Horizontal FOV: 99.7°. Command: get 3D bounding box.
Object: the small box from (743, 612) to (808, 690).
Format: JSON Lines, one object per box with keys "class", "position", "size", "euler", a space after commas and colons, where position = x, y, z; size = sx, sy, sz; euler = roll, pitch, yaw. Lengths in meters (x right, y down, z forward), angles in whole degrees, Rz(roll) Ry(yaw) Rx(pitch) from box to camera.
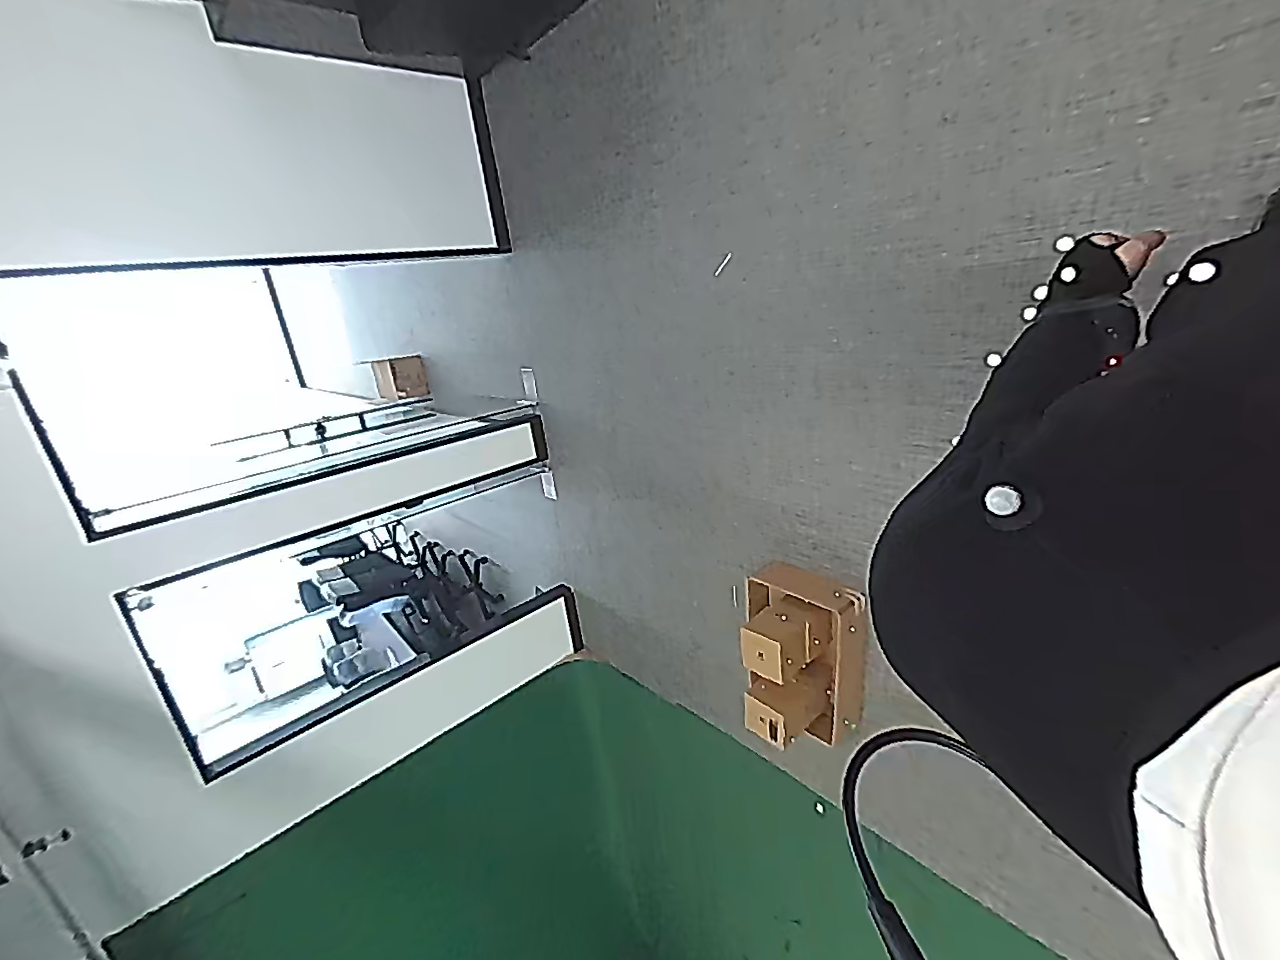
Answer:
{"class": "small box", "position": [0.488, 0.604, 1.934], "size": [0.168, 0.176, 0.179], "euler": [13, 117, 46]}
